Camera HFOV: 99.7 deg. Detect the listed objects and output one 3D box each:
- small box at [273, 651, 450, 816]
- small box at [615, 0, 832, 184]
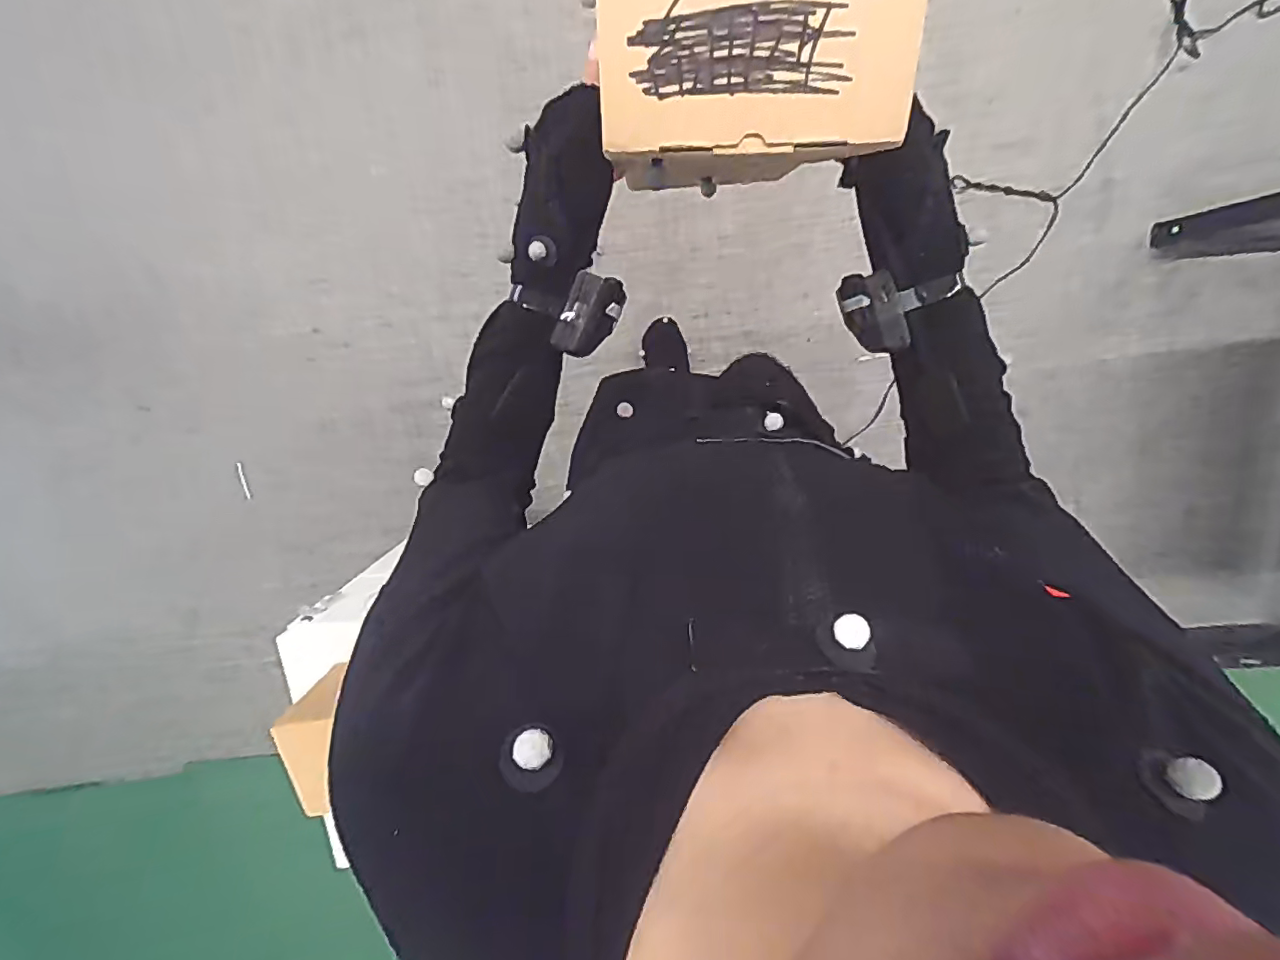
[{"bbox_3d":[-0.441,0.405,0.886,0.179,0.176,0.168,-11,103,4],"label":"small box"},{"bbox_3d":[0.063,-0.378,0.481,0.168,0.176,0.179,-2,112,3],"label":"small box"}]
